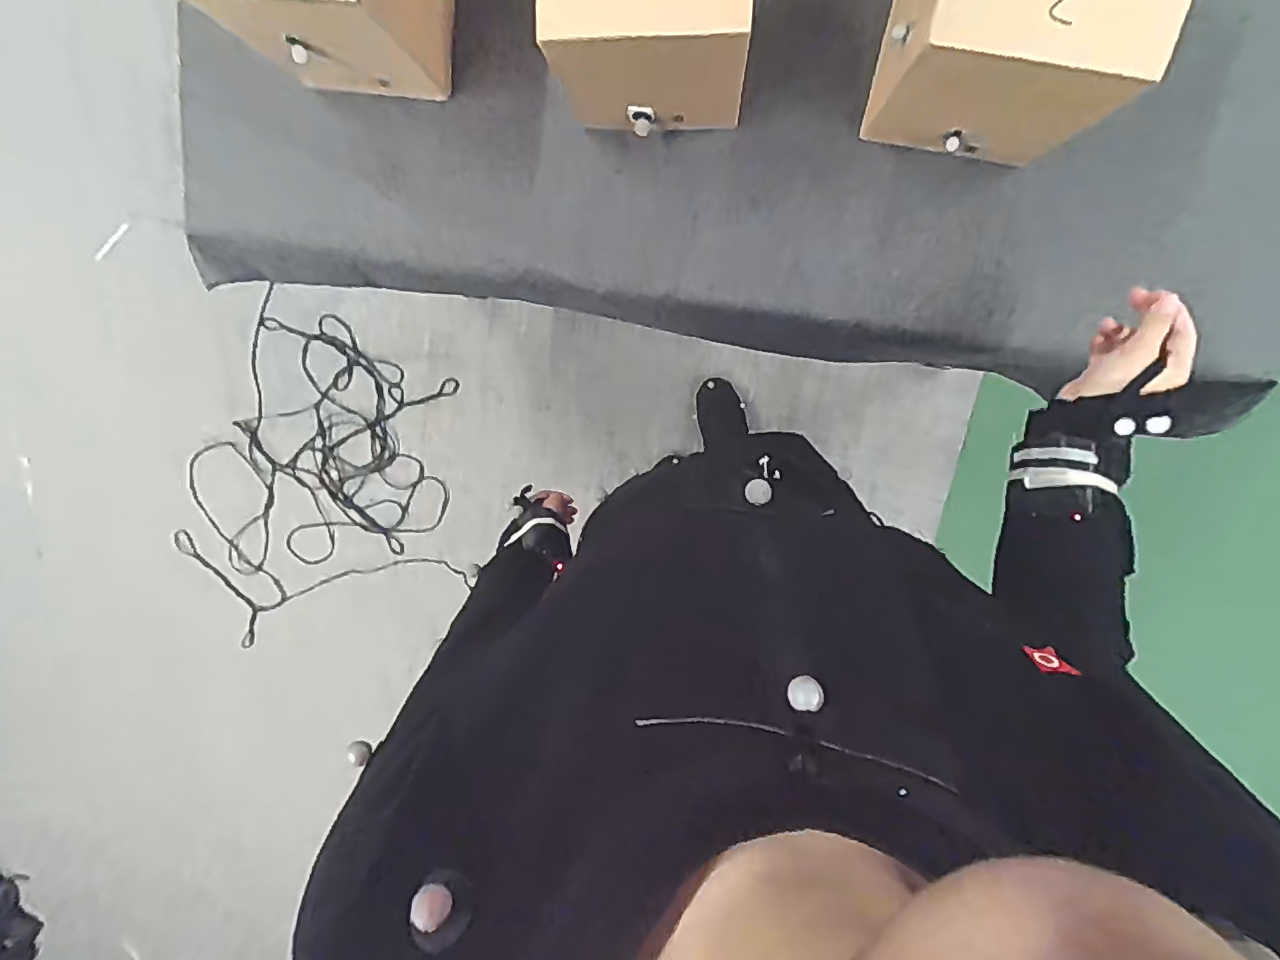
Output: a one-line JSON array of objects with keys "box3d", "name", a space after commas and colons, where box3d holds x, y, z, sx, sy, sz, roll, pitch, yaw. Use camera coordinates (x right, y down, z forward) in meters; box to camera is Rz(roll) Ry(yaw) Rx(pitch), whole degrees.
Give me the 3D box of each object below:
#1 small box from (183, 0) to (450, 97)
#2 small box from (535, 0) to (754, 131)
[{"box3d": [-0.283, -0.481, 0.485, 0.168, 0.176, 0.179, 8, 101, 4], "name": "small box"}, {"box3d": [0.012, -0.433, 0.465, 0.168, 0.176, 0.179, 2, 102, 7], "name": "small box"}]
